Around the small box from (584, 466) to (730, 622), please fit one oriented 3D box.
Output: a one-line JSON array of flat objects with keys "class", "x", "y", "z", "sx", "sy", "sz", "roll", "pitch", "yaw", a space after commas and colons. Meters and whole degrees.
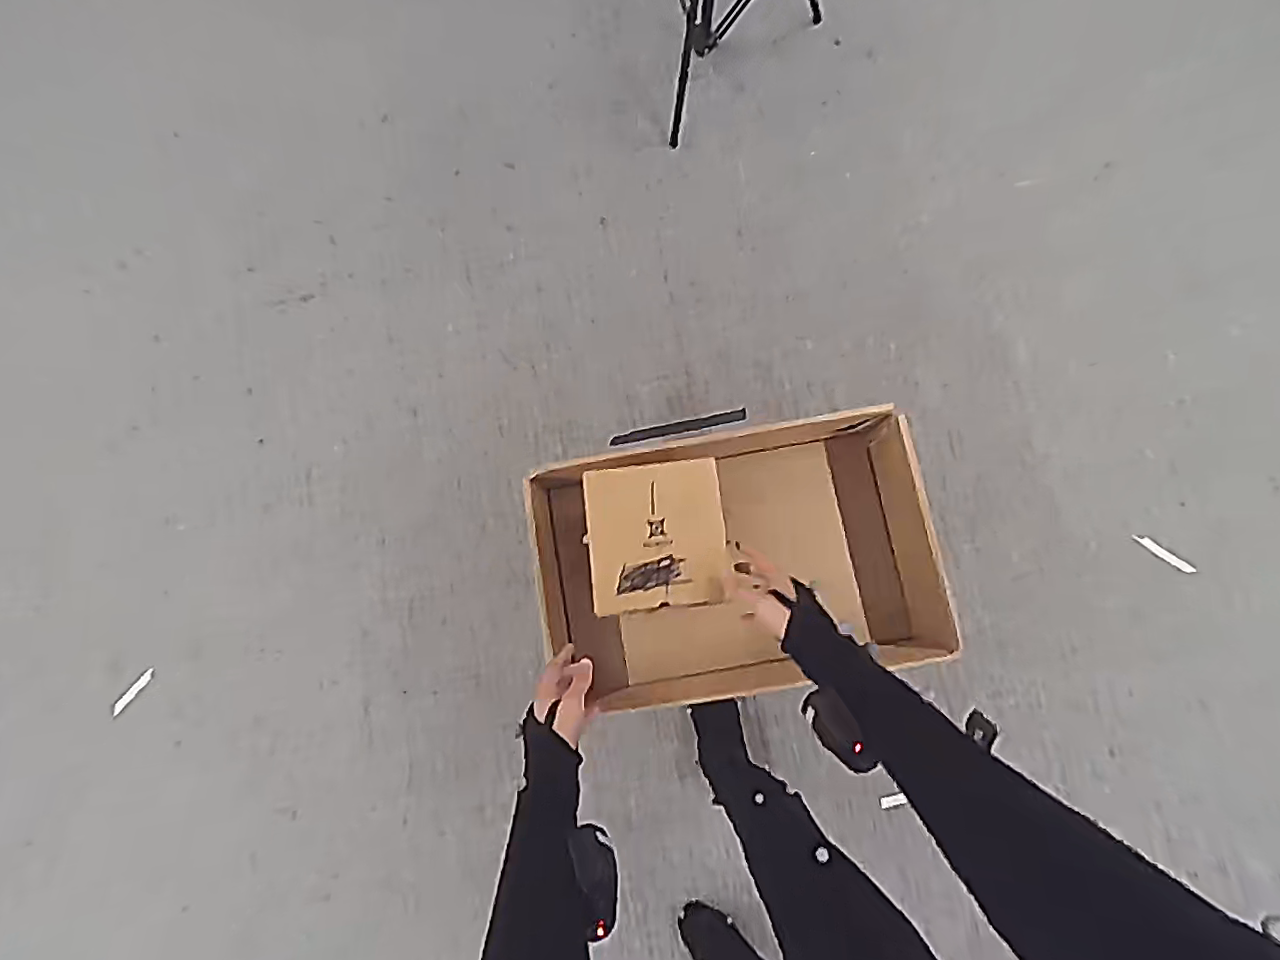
[{"class": "small box", "x": 0.021, "y": 0.086, "z": 0.730, "sx": 0.168, "sy": 0.176, "sz": 0.179, "roll": -6, "pitch": 81, "yaw": 0}]
